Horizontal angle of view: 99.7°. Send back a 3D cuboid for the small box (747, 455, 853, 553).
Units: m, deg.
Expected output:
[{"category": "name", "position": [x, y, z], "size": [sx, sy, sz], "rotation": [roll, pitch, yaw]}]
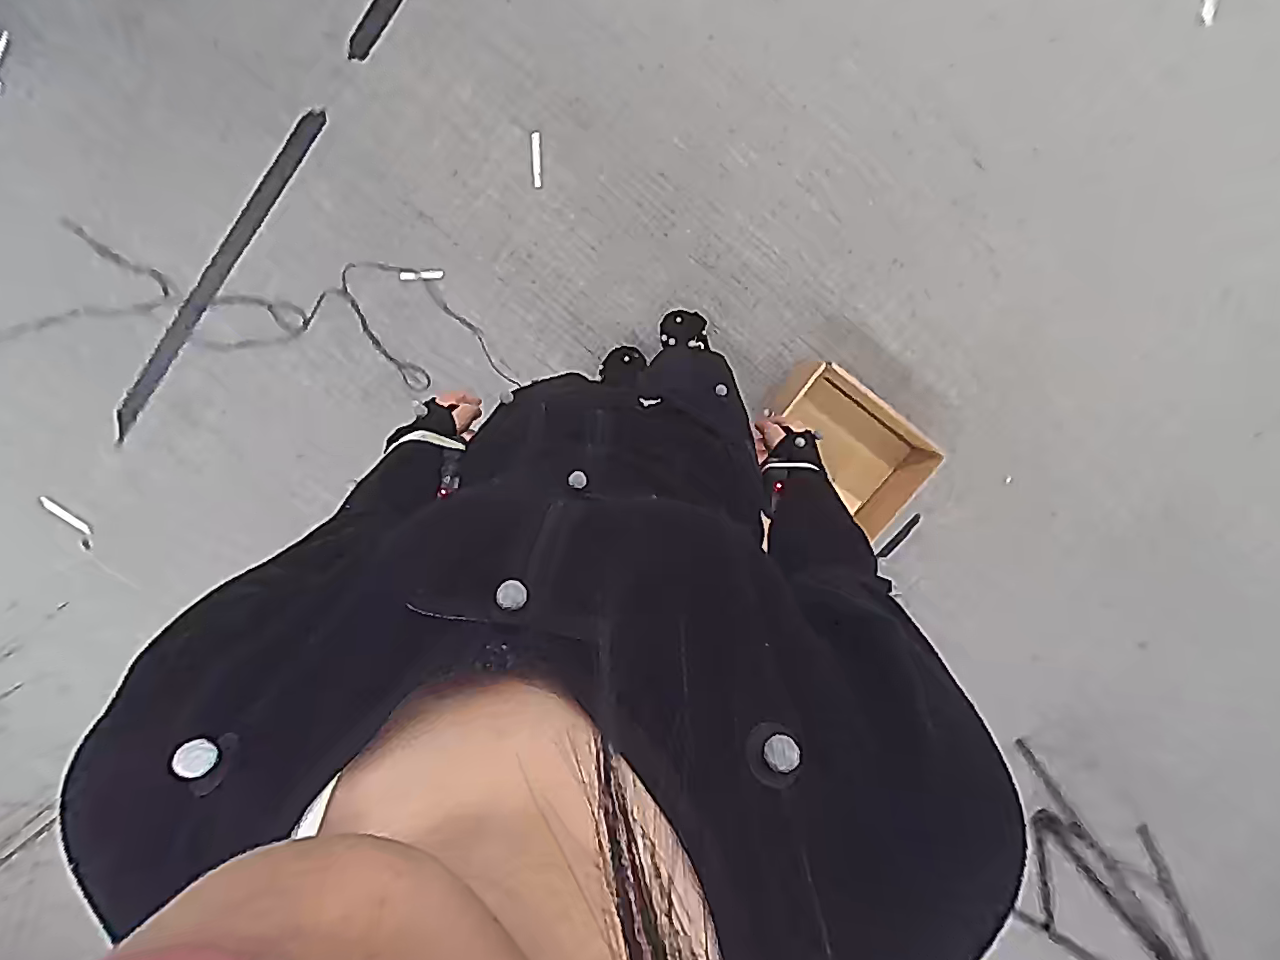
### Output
[{"category": "small box", "position": [0.404, 0.054, 1.396], "size": [0.179, 0.176, 0.168], "rotation": [33, 101, -10]}]
